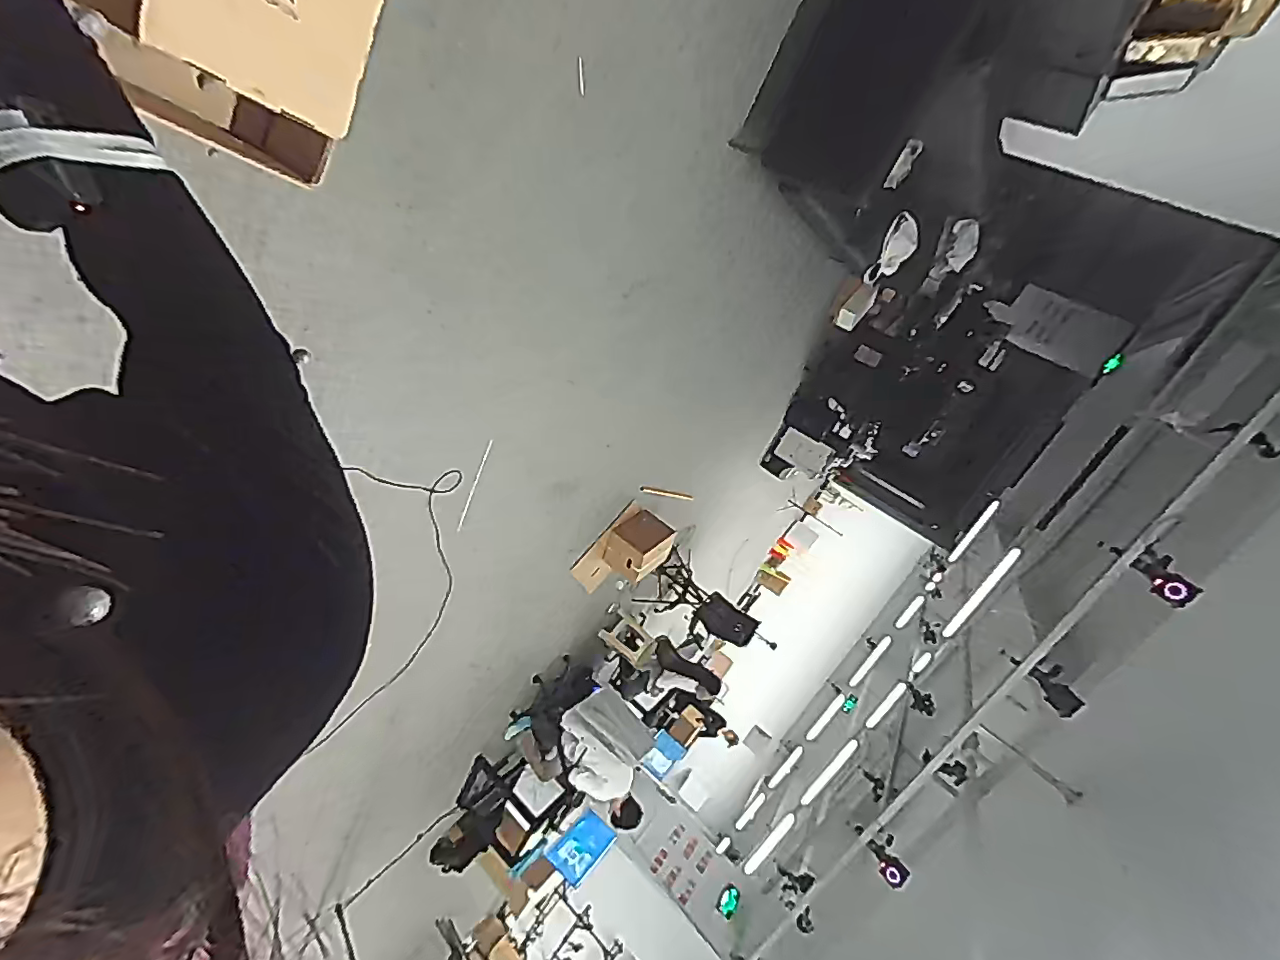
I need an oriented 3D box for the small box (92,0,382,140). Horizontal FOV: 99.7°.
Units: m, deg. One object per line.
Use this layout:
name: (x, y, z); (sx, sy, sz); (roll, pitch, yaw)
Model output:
small box: (-0.367, -0.459, 0.487); (0.179, 0.176, 0.168); (-60, 158, 18)
